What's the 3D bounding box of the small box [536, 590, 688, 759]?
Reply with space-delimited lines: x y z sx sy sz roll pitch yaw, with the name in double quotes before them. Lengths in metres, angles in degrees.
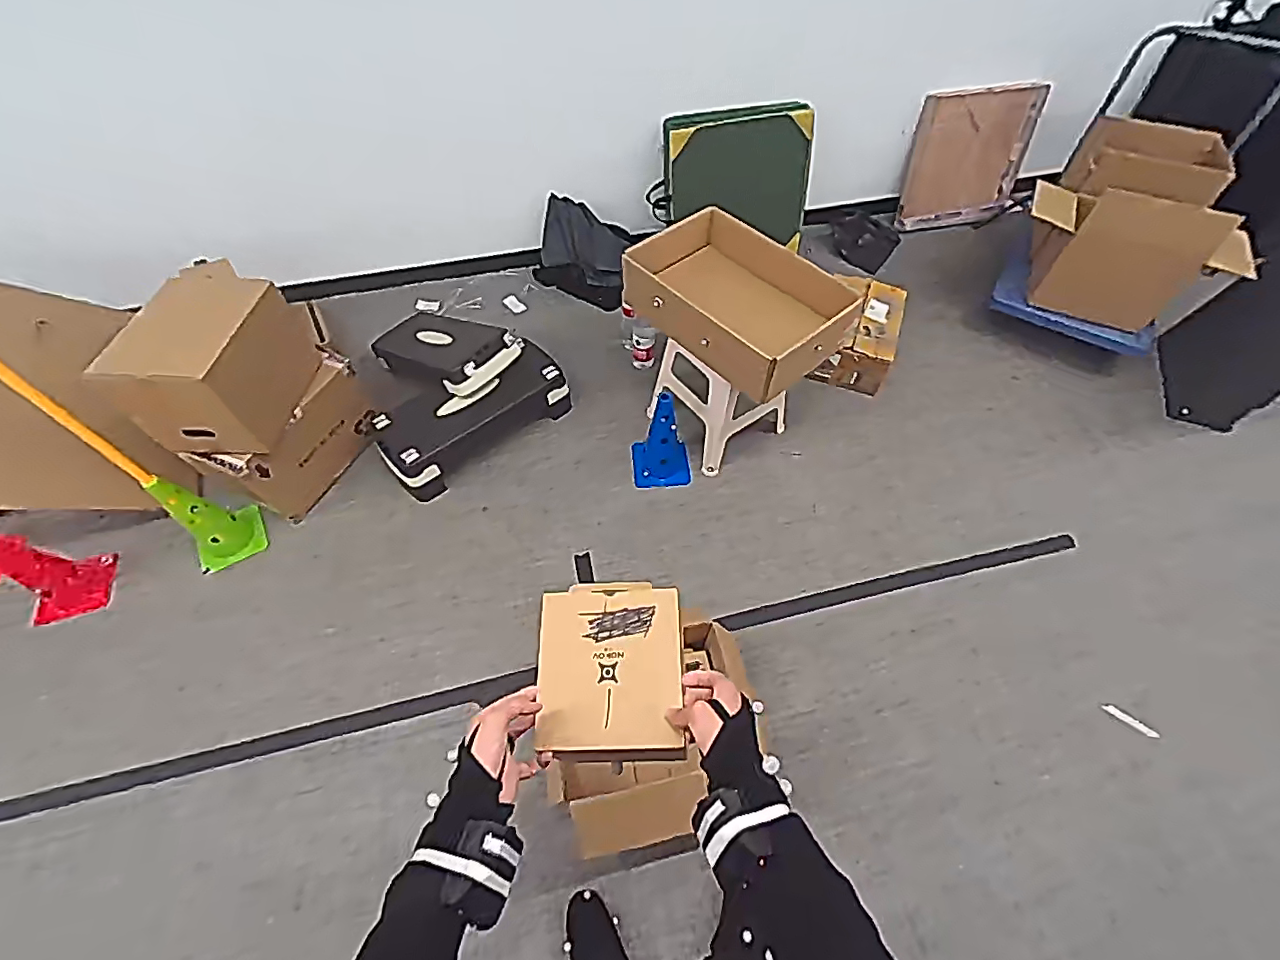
"small box" -0.025 0.254 0.692 0.168 0.176 0.179 -4 60 5
